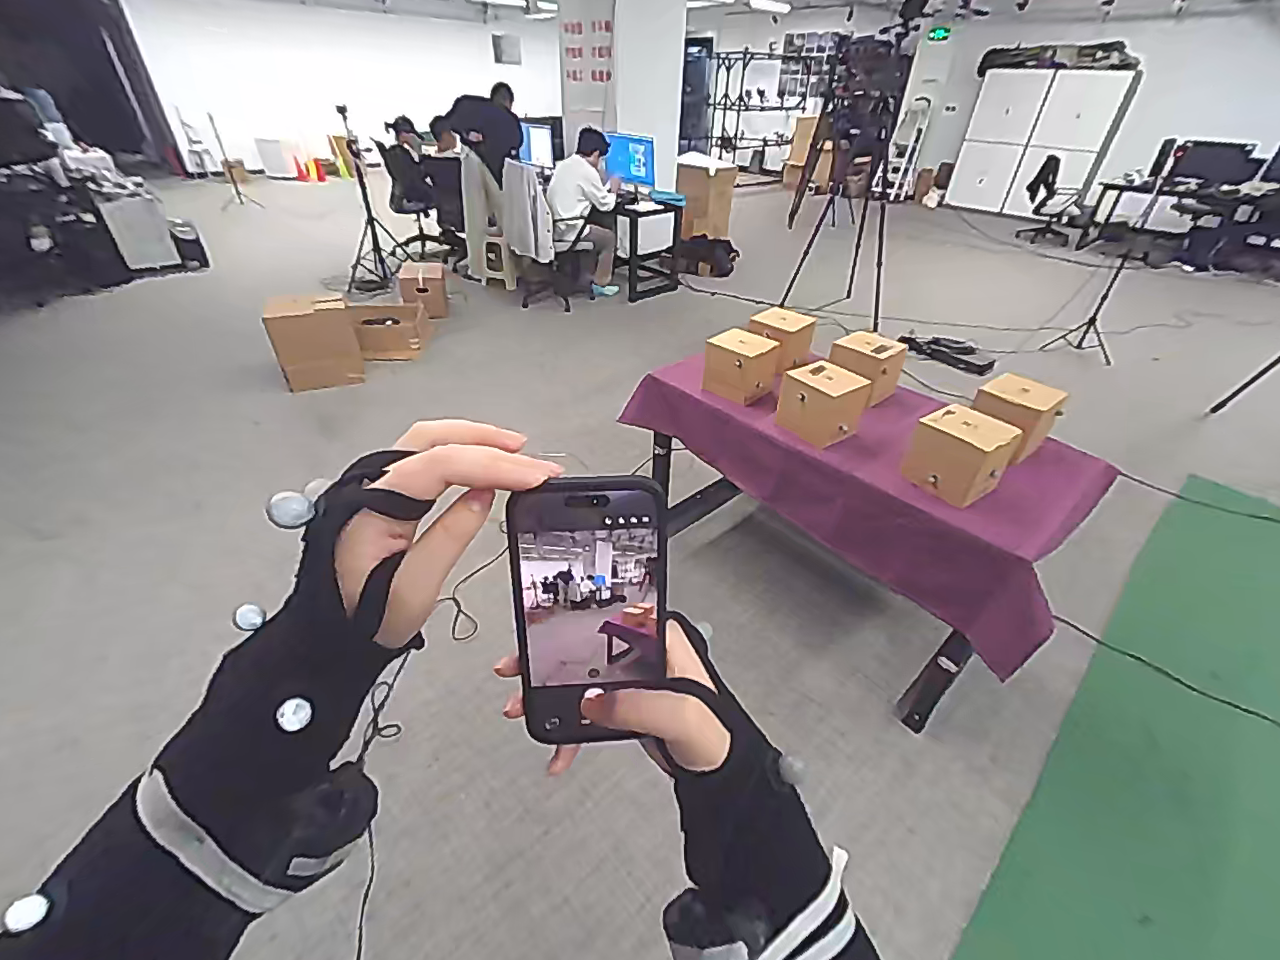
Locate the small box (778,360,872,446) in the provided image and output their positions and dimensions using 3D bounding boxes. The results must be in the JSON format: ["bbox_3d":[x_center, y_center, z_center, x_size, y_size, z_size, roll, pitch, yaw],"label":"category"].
[{"bbox_3d":[0.520,-0.220,1.546,0.168,0.176,0.179,-22,43,-29],"label":"small box"}]

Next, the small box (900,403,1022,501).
[{"bbox_3d":[0.792,-0.065,1.347,0.168,0.176,0.179,-21,42,-29],"label":"small box"}]

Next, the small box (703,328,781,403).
[{"bbox_3d":[0.322,-0.368,1.739,0.179,0.176,0.168,30,44,31],"label":"small box"}]

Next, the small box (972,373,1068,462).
[{"bbox_3d":[1.036,-0.176,1.509,0.179,0.176,0.168,-25,43,-30],"label":"small box"}]
